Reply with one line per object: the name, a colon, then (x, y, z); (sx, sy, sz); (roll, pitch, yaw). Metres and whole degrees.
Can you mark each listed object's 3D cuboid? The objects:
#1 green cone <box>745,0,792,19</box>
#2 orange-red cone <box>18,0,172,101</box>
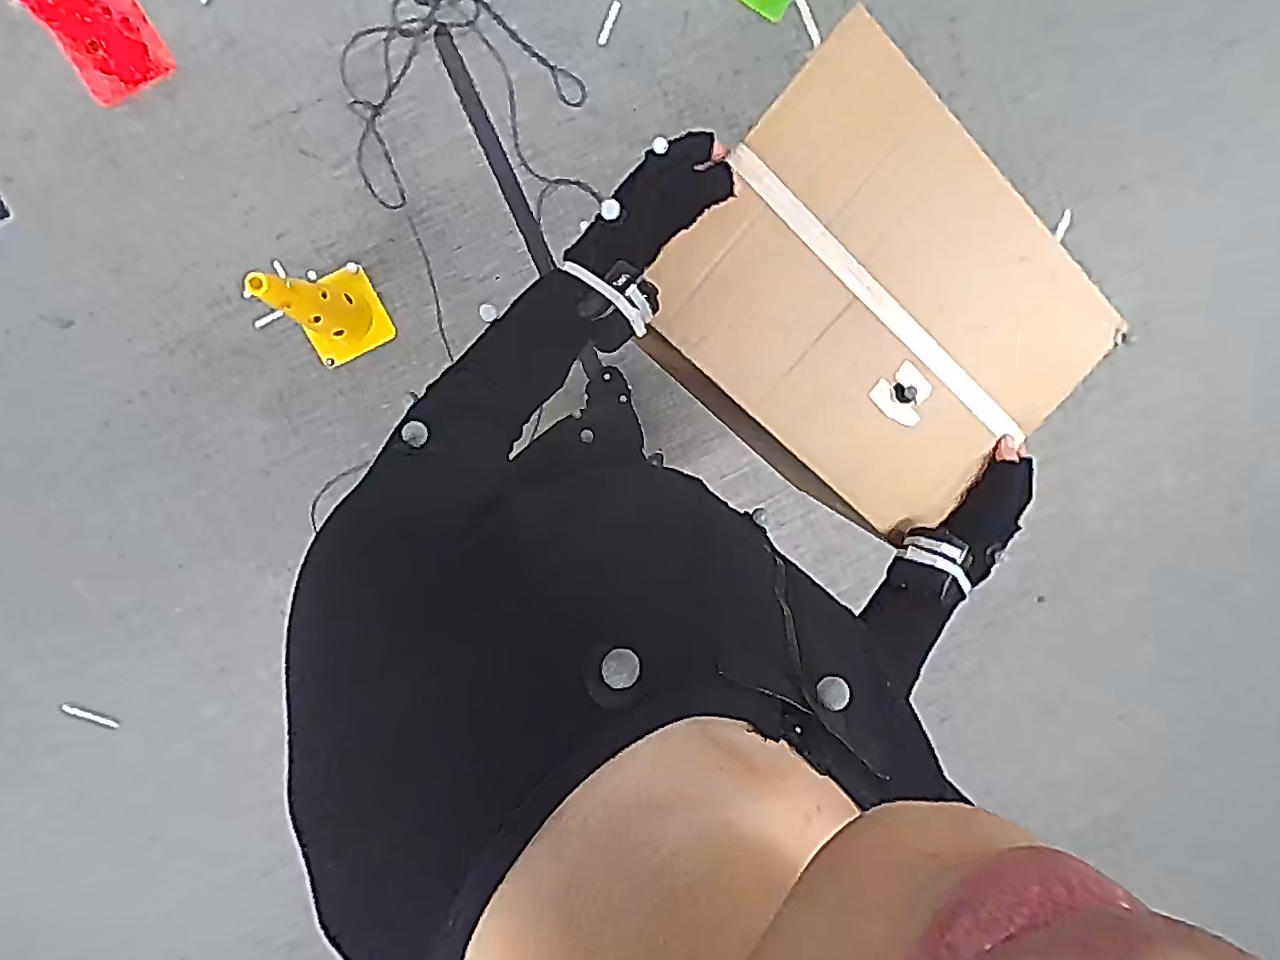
green cone: (0.325, -1.247, 1.157); (0.200, 0.368, 0.202); (27, 93, -9)
orange-red cone: (-1.185, -0.970, 1.065); (0.198, 0.360, 0.199); (-28, 100, 0)
